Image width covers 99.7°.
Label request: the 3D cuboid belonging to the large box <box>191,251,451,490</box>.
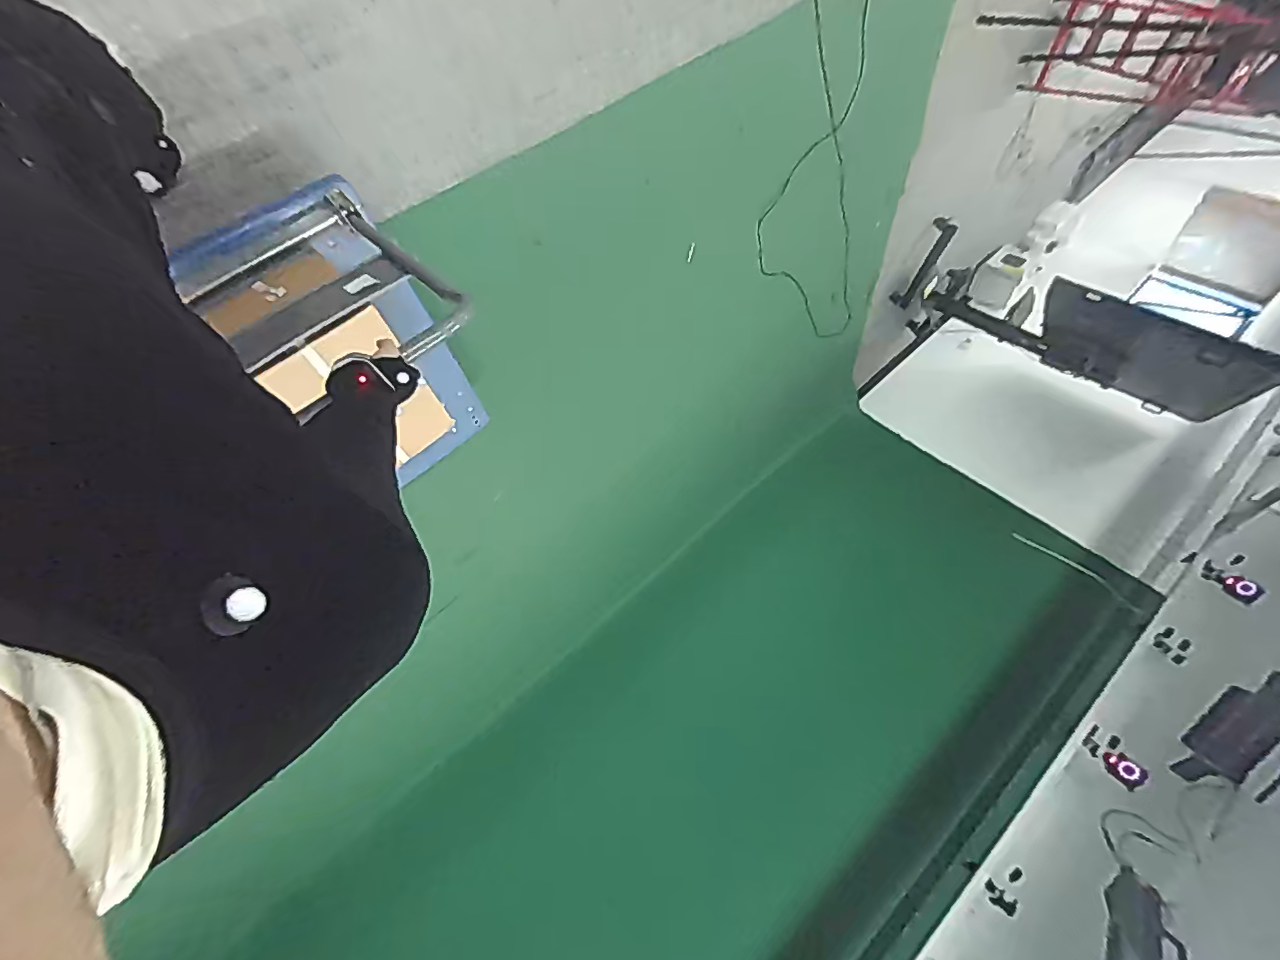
[{"bbox_3d":[-0.743,-0.256,1.306,0.320,0.320,0.408,-40,150,-16],"label":"large box"}]
